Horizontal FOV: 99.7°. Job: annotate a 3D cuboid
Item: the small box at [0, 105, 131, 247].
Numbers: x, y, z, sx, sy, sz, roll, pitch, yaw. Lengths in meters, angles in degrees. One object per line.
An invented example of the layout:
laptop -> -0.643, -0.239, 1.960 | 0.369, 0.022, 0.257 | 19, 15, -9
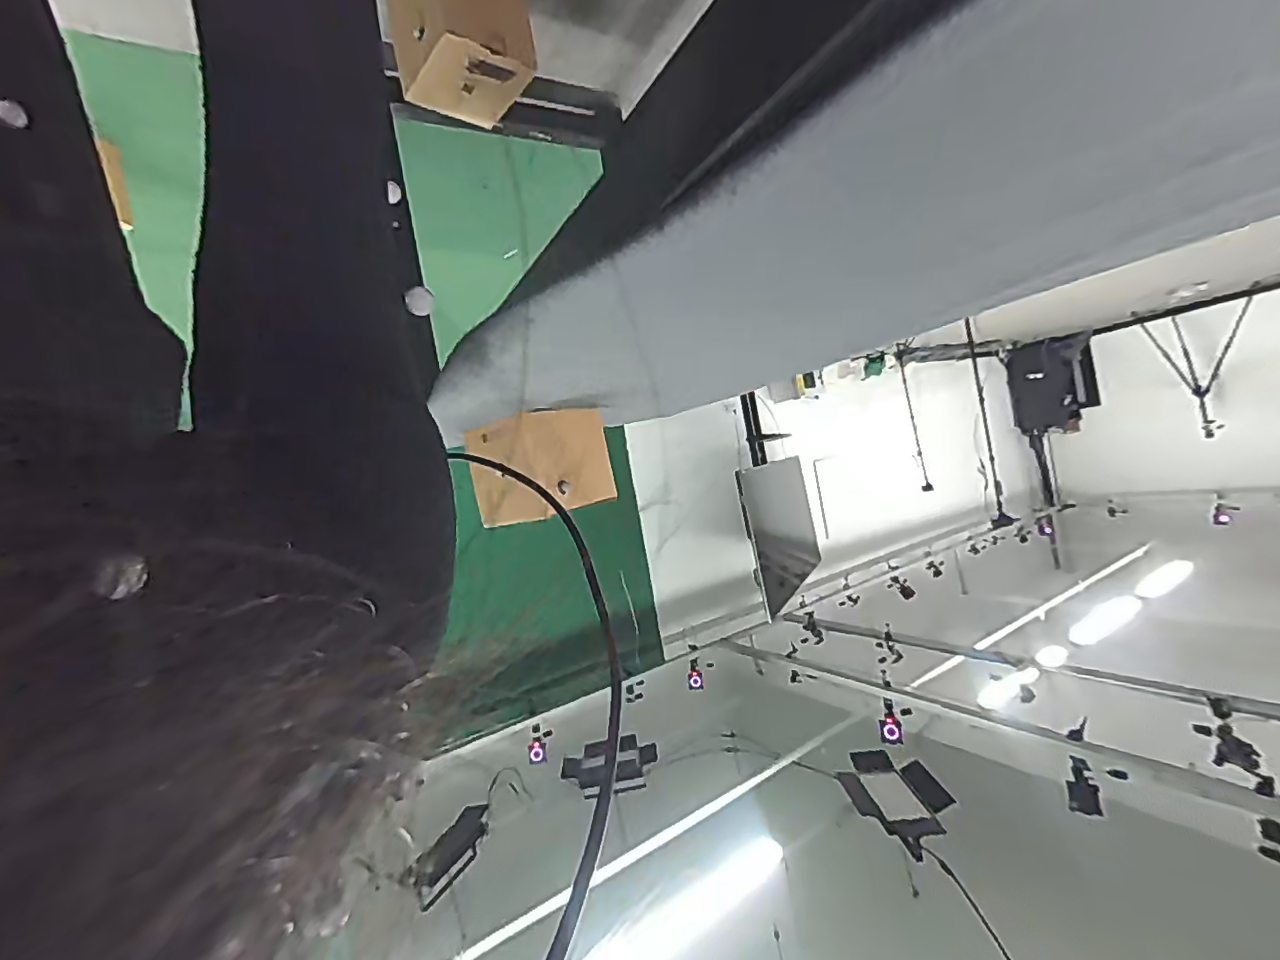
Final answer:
small box -> -1.158, -0.579, 1.045 | 0.168, 0.176, 0.179 | -11, -179, 1

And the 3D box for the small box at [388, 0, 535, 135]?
small box -> -0.304, -0.734, 0.909 | 0.168, 0.176, 0.179 | -11, -178, -43

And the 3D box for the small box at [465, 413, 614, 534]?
small box -> -0.174, -0.015, 0.933 | 0.168, 0.176, 0.179 | -10, -177, 38
